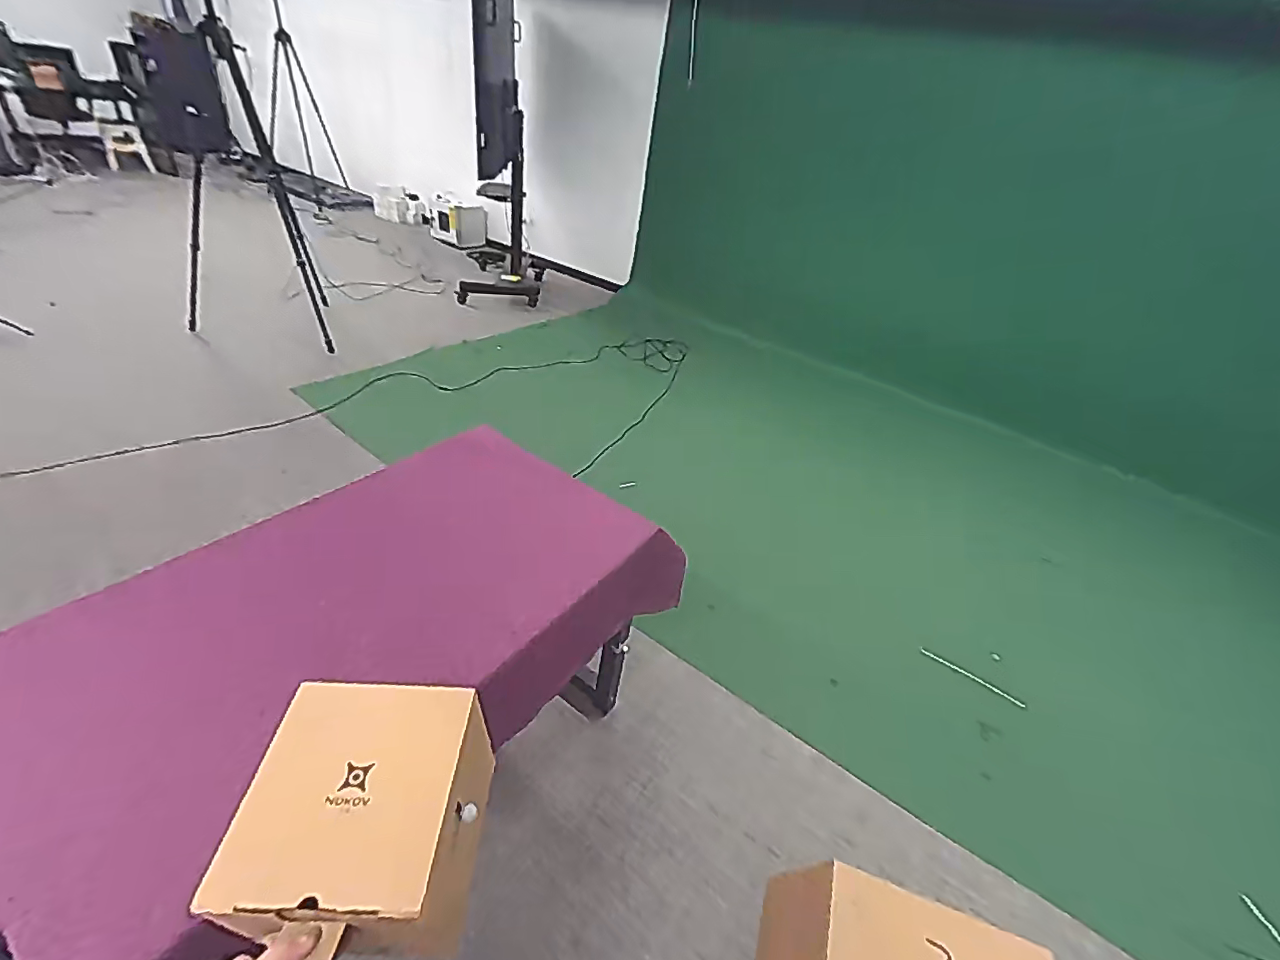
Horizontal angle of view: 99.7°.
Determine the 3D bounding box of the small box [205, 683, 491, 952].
[{"bbox_3d":[-0.245,0.318,0.513,0.168,0.176,0.179,3,42,-2],"label":"small box"}]
